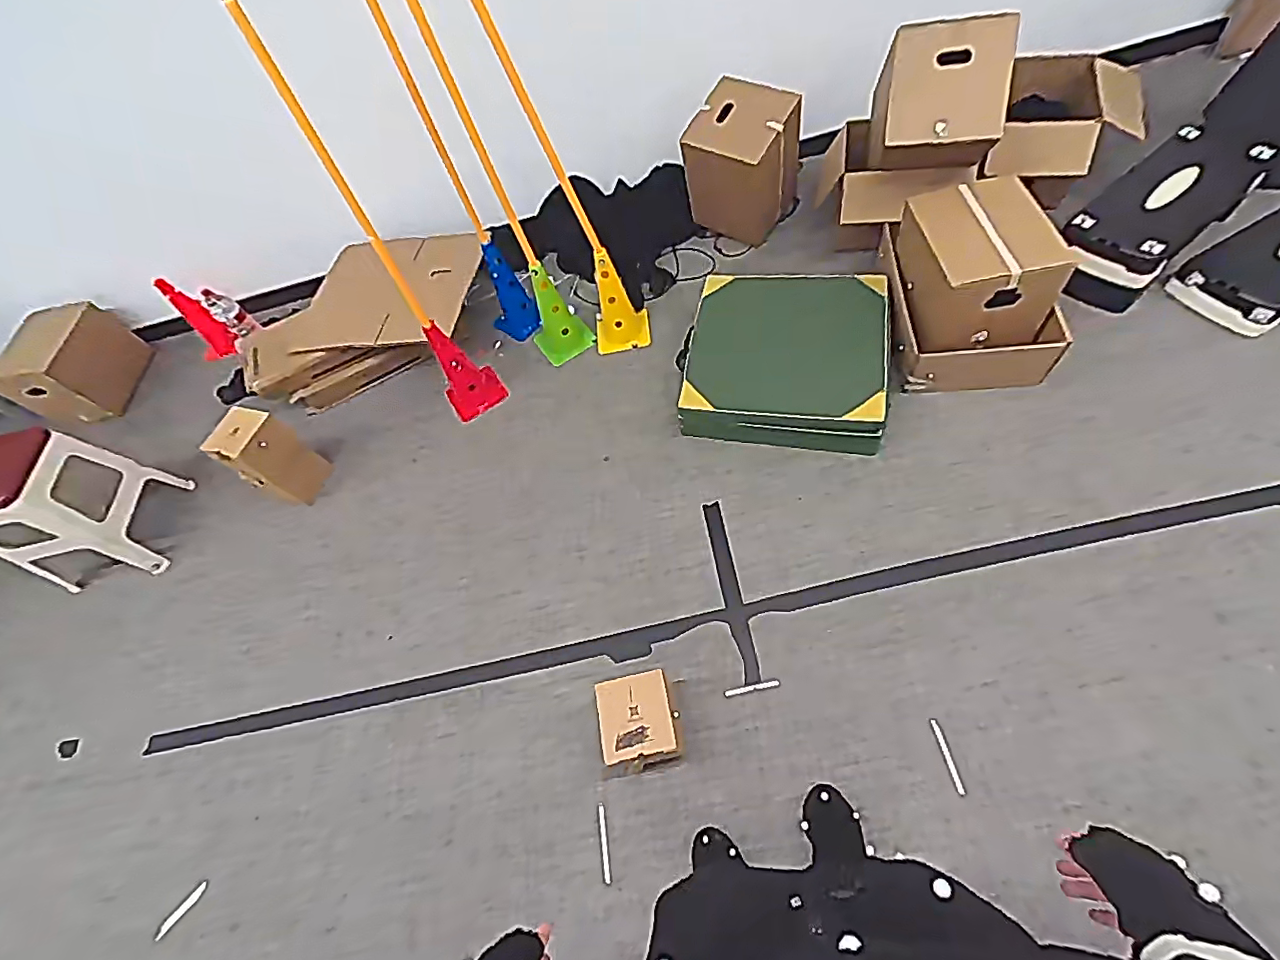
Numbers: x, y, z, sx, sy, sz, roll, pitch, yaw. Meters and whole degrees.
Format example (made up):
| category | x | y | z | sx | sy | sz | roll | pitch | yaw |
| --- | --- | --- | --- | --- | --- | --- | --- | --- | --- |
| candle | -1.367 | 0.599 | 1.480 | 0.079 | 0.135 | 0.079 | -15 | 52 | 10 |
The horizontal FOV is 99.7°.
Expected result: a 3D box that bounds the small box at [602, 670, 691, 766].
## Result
| category | x | y | z | sx | sy | sz | roll | pitch | yaw |
| --- | --- | --- | --- | --- | --- | --- | --- | --- | --- |
| small box | 0.018 | 0.574 | 1.290 | 0.168 | 0.176 | 0.179 | -15 | 57 | 5 |
